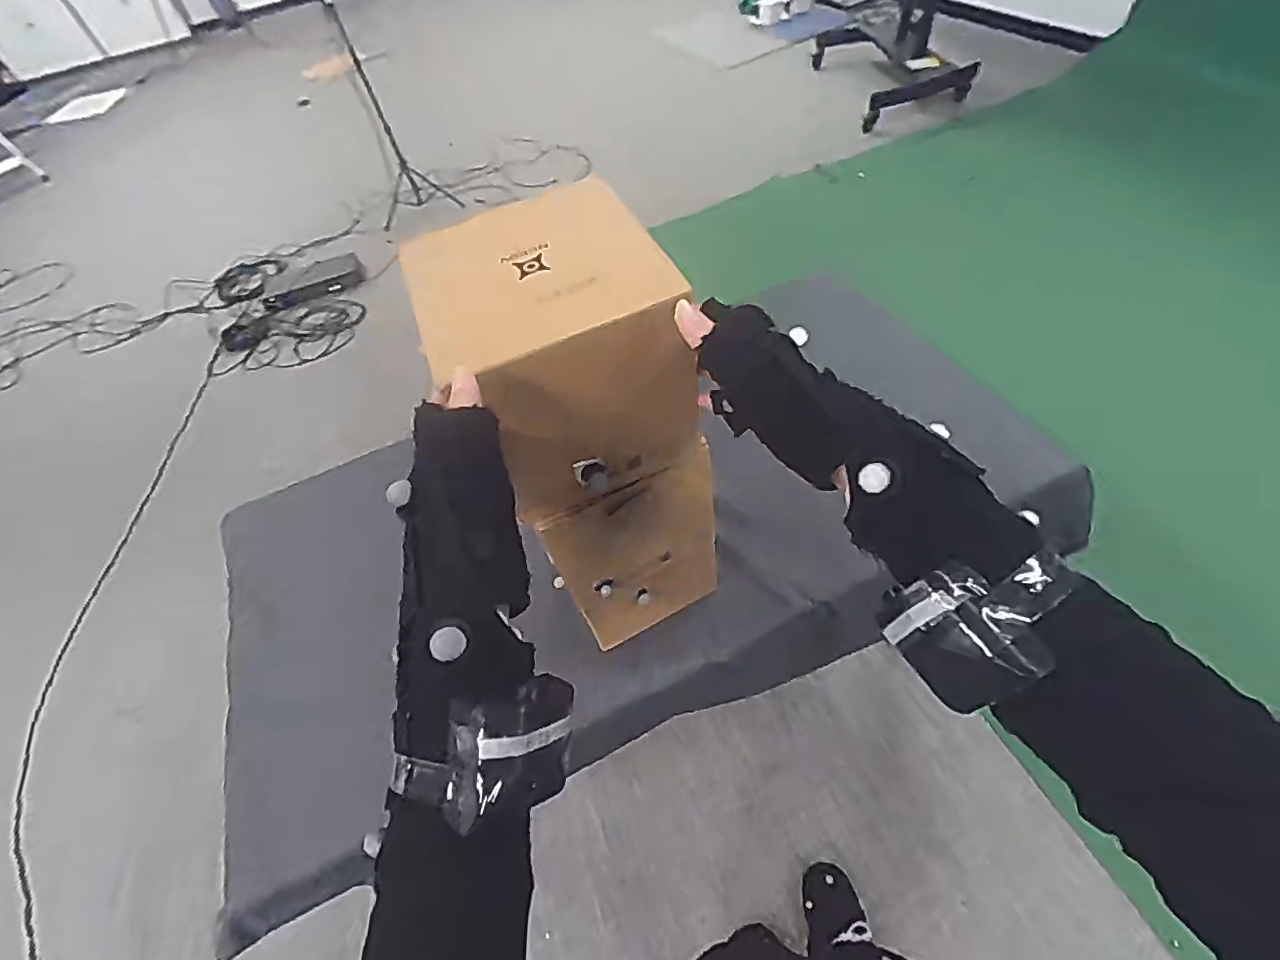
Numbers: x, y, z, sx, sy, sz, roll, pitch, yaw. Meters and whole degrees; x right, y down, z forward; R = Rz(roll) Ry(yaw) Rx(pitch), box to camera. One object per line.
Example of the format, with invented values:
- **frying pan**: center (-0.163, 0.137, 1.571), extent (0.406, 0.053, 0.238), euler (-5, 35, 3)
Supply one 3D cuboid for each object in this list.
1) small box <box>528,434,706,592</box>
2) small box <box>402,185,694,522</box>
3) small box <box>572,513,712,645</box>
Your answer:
- **small box**: center (-0.041, -0.004, 0.574), extent (0.168, 0.176, 0.179), euler (-27, 53, -10)
- **small box**: center (-0.067, -0.098, 0.438), extent (0.168, 0.176, 0.179), euler (-23, 55, -7)
- **small box**: center (-0.019, 0.086, 0.713), extent (0.179, 0.176, 0.168), euler (-30, 53, -13)
